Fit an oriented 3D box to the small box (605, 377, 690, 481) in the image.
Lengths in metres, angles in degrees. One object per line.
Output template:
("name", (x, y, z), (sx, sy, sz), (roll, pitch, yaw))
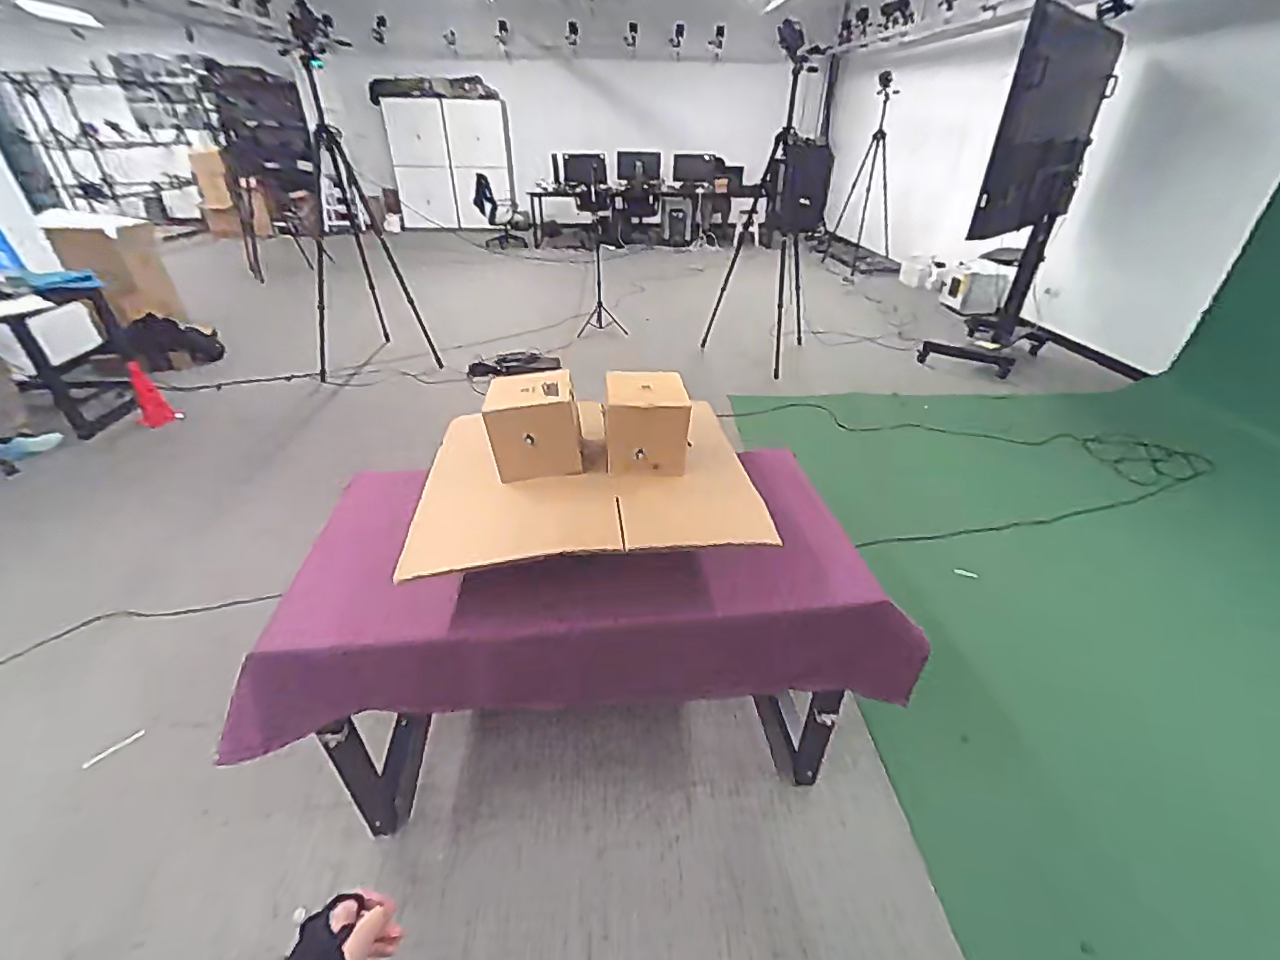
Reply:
("small box", (0.009, -0.113, 1.179), (0.168, 0.176, 0.179), (-1, 34, -6))
